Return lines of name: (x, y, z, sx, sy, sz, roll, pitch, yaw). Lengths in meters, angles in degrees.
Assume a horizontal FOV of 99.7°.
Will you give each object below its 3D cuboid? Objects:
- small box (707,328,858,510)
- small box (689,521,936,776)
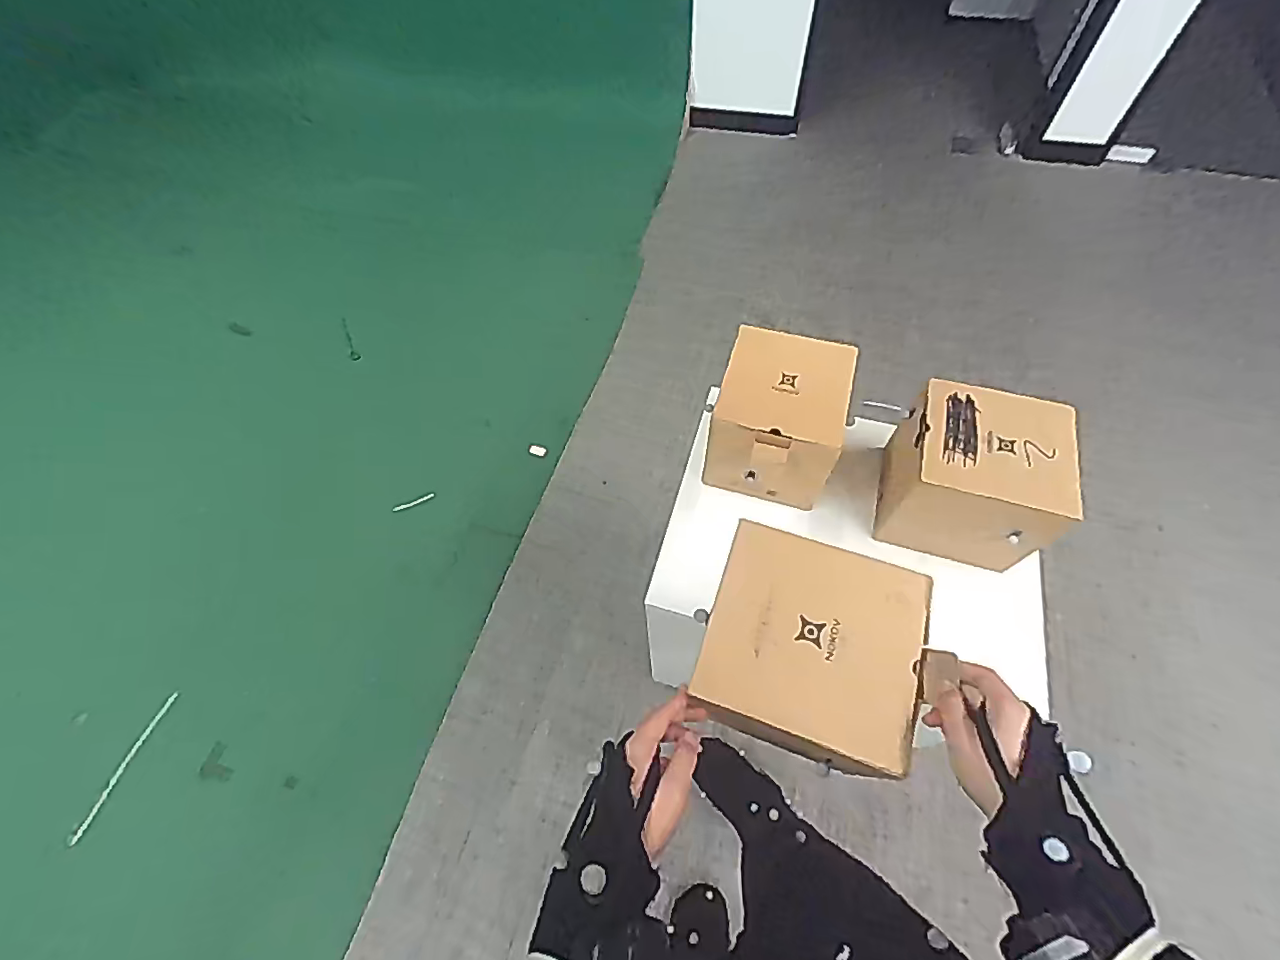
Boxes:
small box: (0.197, -0.083, 0.780, 0.168, 0.176, 0.179, 14, 62, 10)
small box: (0.153, 0.166, 0.523, 0.179, 0.176, 0.168, 16, 63, 12)
